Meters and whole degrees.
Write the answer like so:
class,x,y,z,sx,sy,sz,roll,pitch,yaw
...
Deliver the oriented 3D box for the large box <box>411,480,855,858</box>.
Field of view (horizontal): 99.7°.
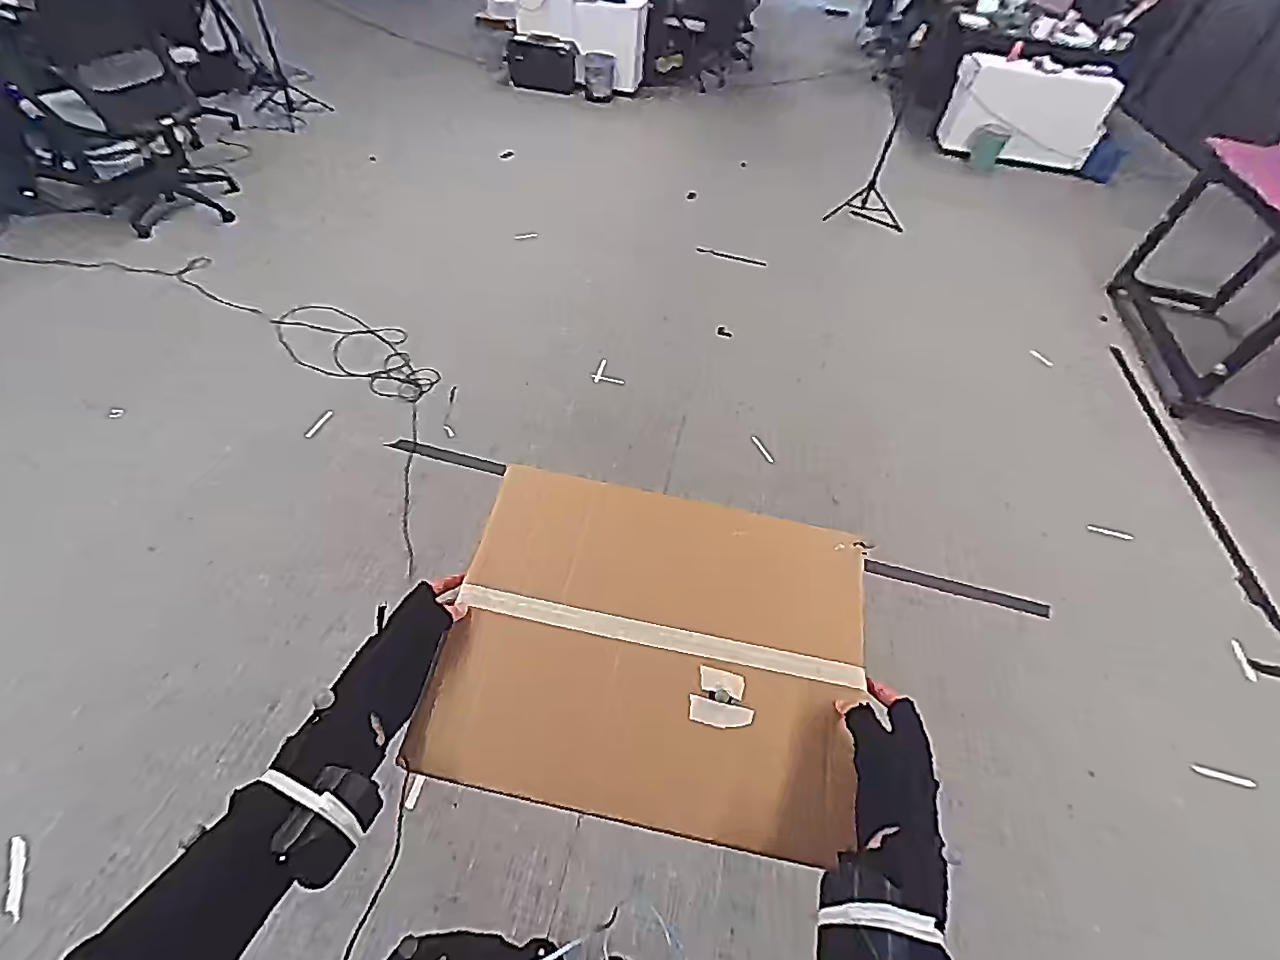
class,x,y,z,sx,sy,sz,roll,pitch,yaw
large box,0.004,0.237,0.672,0.408,0.320,0.320,11,60,2
